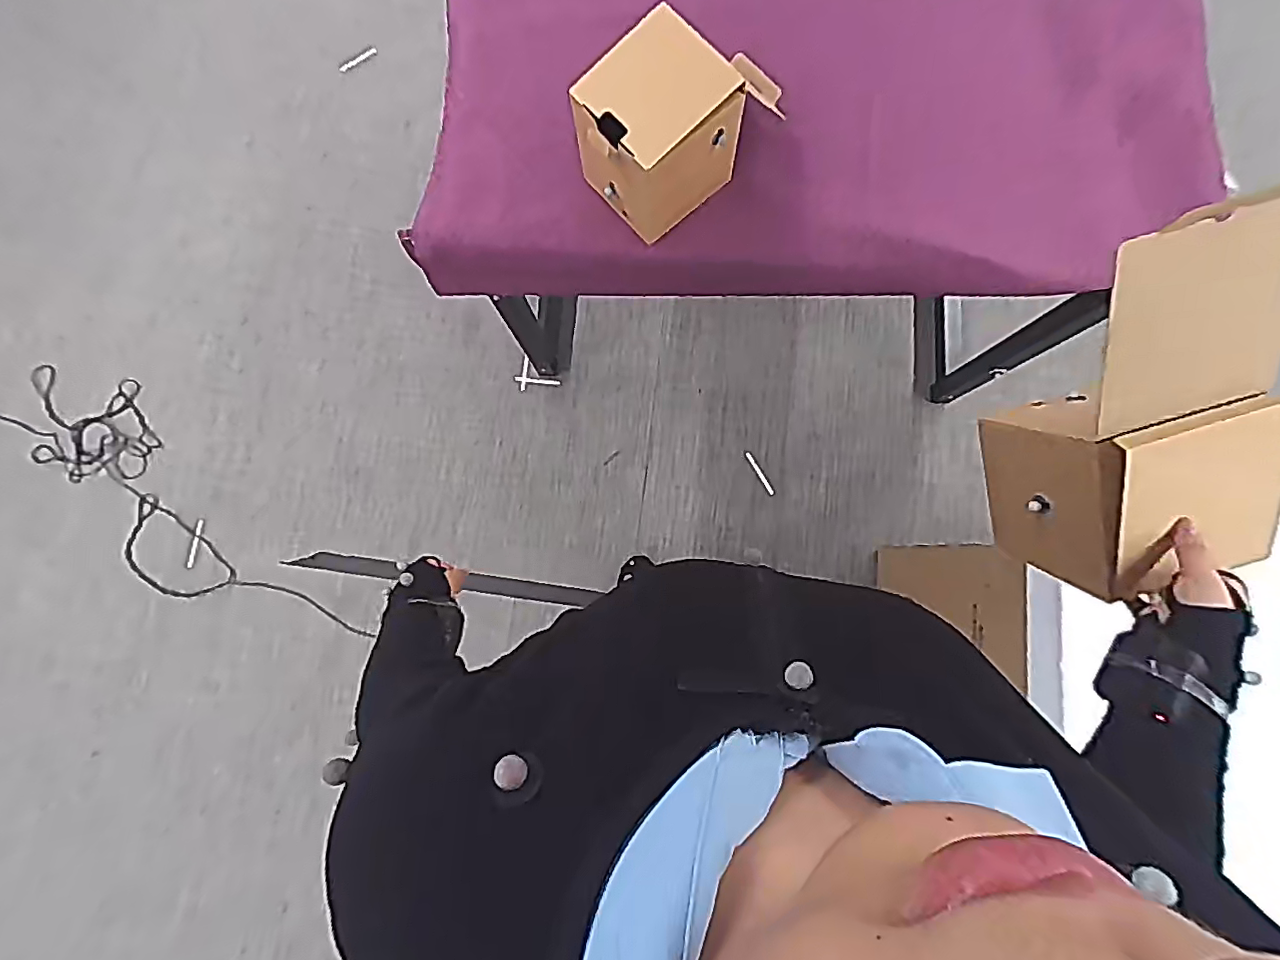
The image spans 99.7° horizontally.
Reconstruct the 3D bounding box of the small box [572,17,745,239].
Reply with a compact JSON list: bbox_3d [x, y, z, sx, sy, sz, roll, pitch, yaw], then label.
[{"bbox_3d":[0.025,-0.503,0.795,0.179,0.176,0.168,-40,81,-4],"label":"small box"}]
